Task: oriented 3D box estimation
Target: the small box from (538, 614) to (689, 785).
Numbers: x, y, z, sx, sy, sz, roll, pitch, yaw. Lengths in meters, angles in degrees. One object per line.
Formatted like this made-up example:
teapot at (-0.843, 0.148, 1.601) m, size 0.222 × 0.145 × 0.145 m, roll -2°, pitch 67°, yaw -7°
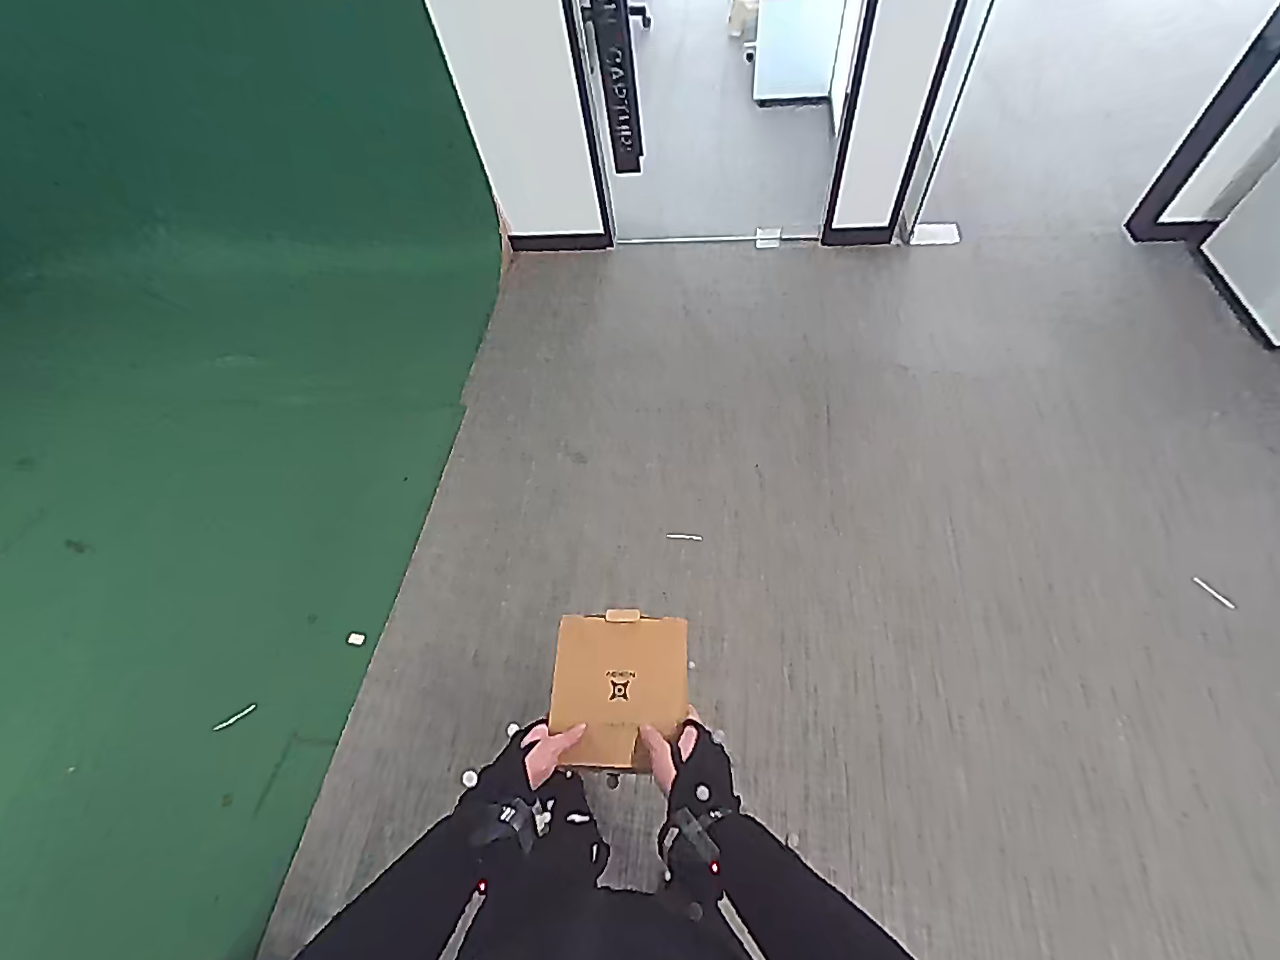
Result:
small box at (-0.024, 0.291, 0.708) m, size 0.168 × 0.176 × 0.179 m, roll 2°, pitch 59°, yaw 5°
